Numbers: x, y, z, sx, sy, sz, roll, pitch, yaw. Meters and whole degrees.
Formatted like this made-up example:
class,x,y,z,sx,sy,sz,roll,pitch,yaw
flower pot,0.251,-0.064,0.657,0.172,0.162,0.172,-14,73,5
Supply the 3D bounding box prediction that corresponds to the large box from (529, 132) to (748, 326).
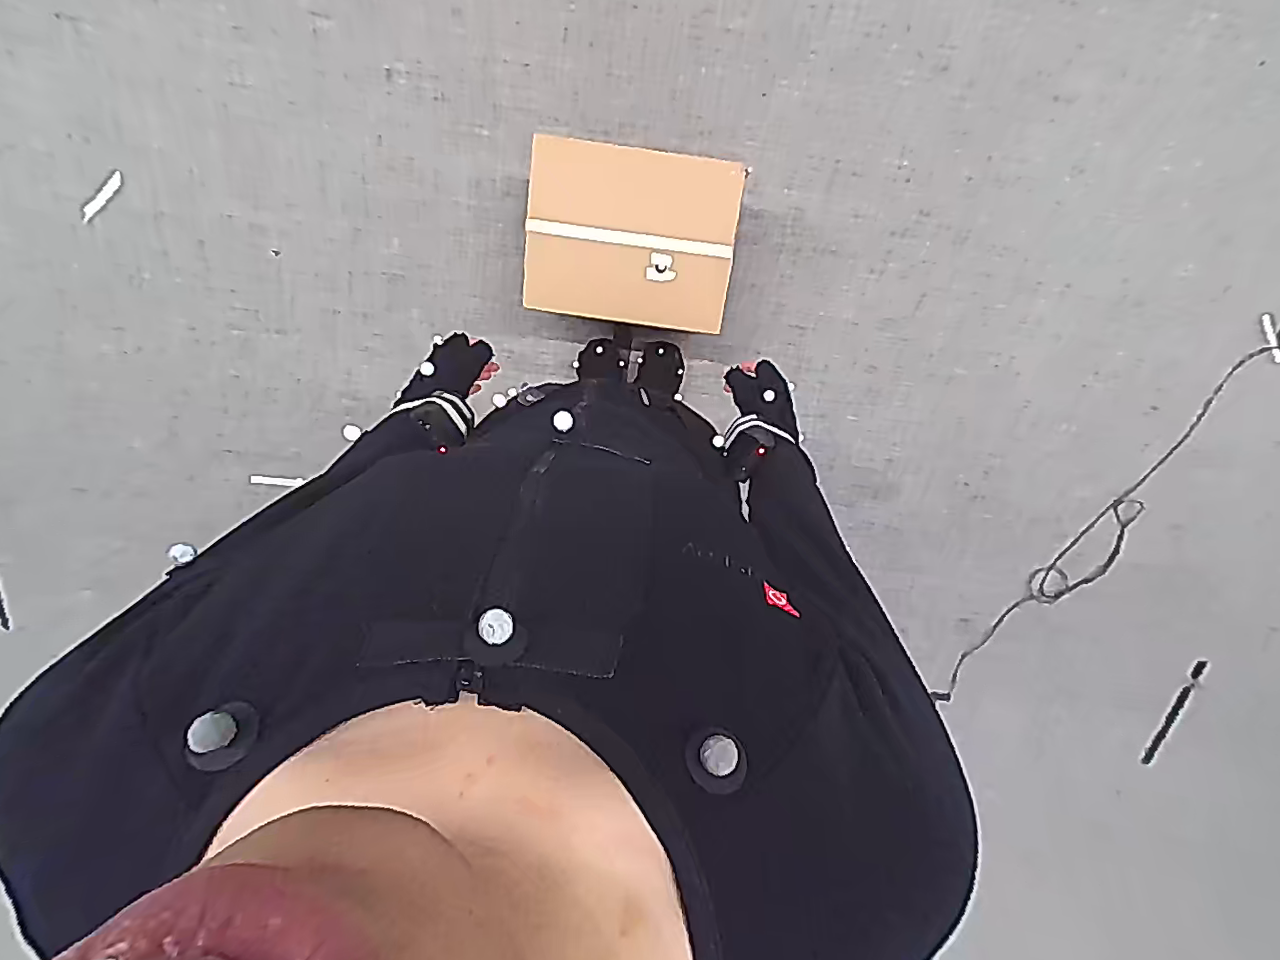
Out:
class,x,y,z,sx,sy,sz,roll,pitch,yaw
large box,-0.011,-0.522,1.186,0.408,0.320,0.320,7,109,-2
